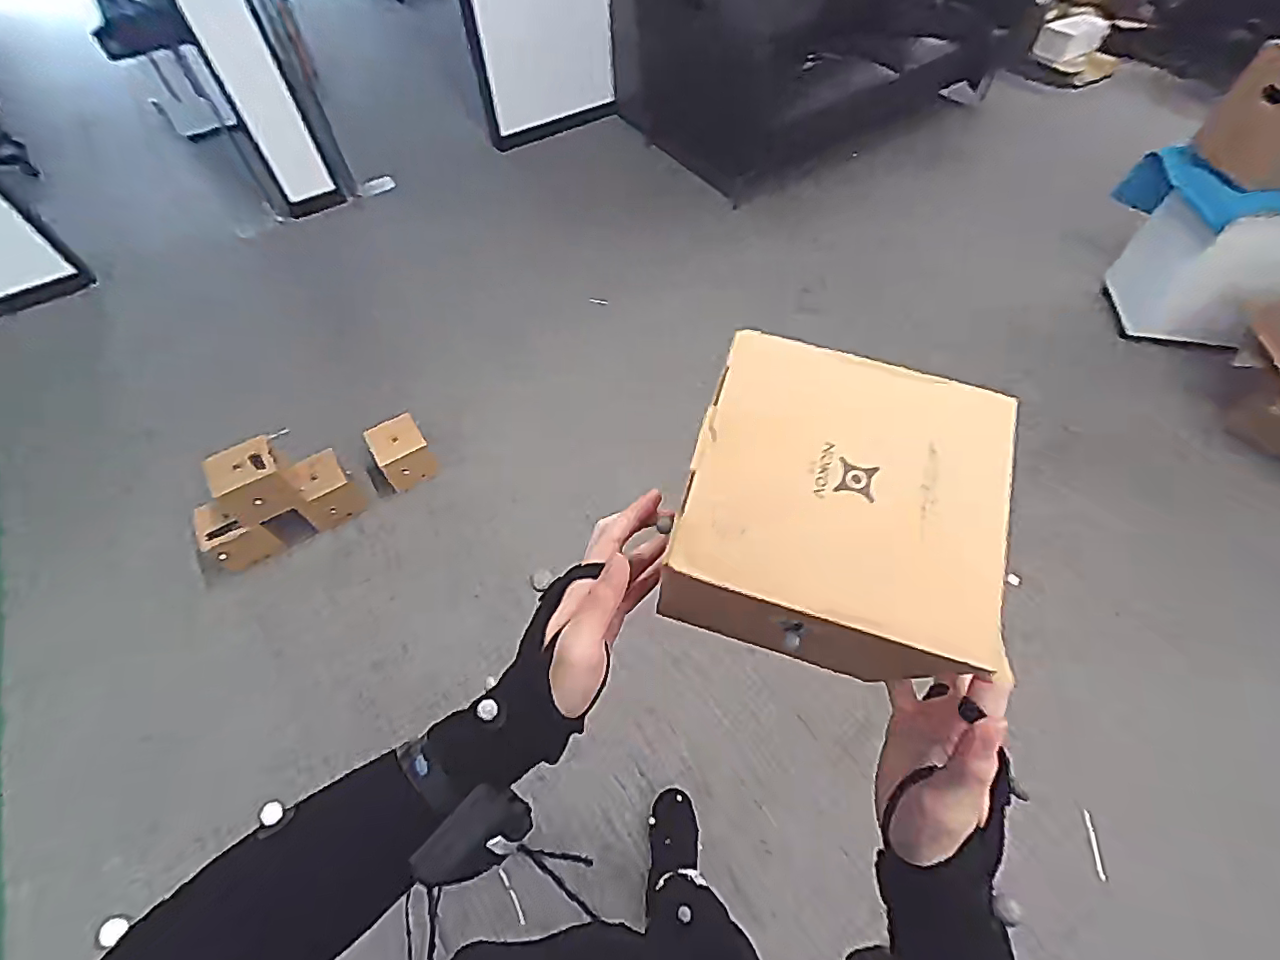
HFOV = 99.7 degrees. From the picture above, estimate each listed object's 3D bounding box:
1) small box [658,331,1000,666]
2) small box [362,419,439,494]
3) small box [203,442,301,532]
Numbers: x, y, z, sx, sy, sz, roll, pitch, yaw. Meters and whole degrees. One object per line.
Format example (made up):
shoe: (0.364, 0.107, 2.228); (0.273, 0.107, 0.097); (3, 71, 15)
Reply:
small box: (0.117, 0.026, 0.388); (0.179, 0.176, 0.168); (15, 69, 8)
small box: (-0.829, -0.073, 1.883); (0.168, 0.176, 0.179); (-30, 60, -18)
small box: (-1.153, 0.024, 1.622); (0.179, 0.176, 0.168); (-28, 60, -17)
